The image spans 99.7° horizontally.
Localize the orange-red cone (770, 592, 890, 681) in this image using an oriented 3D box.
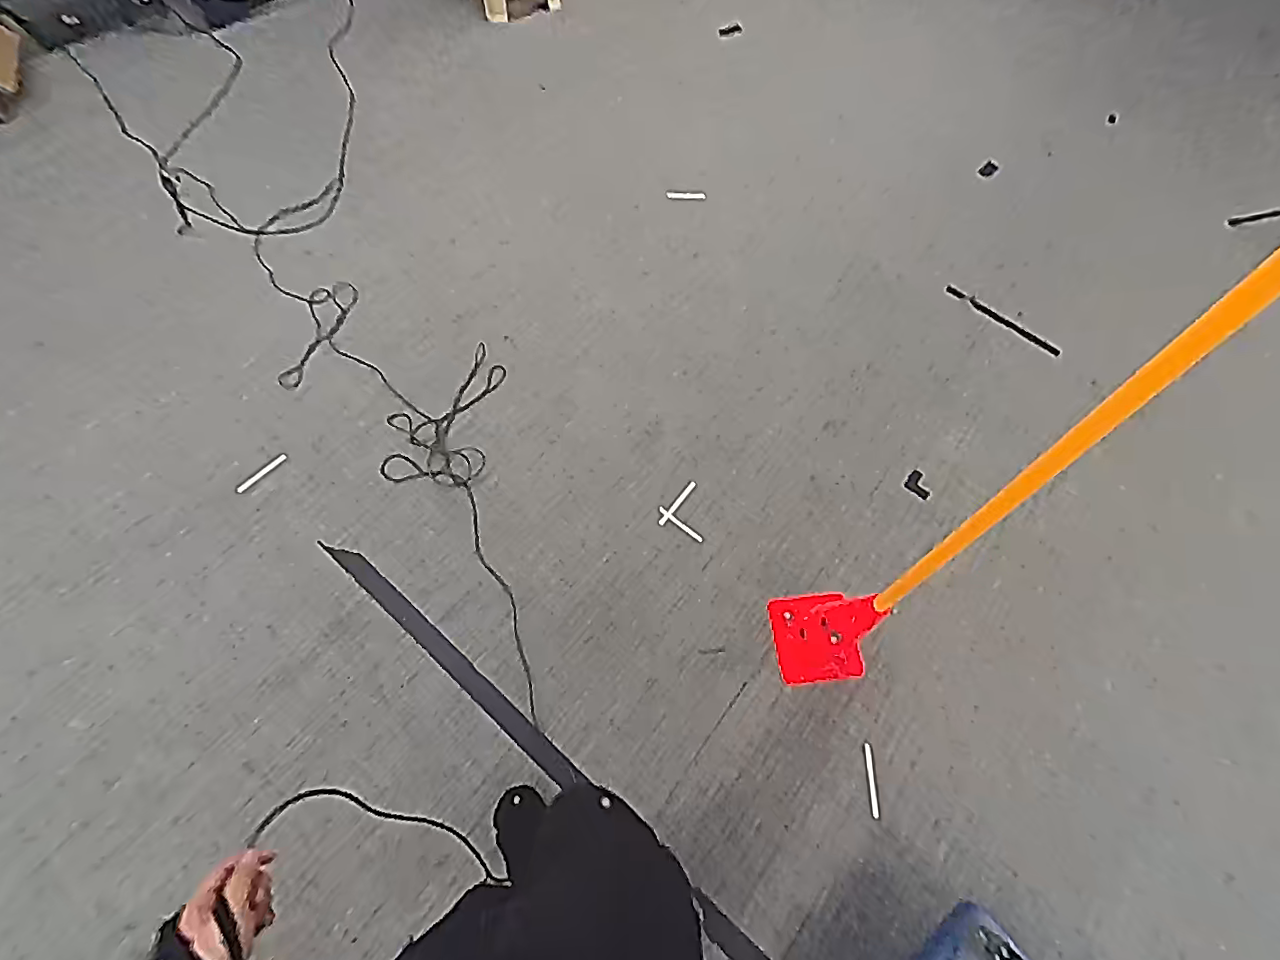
[{"bbox_3d":[0.421,0.294,1.118,0.198,0.360,0.199,-4,66,-4],"label":"orange-red cone"}]
